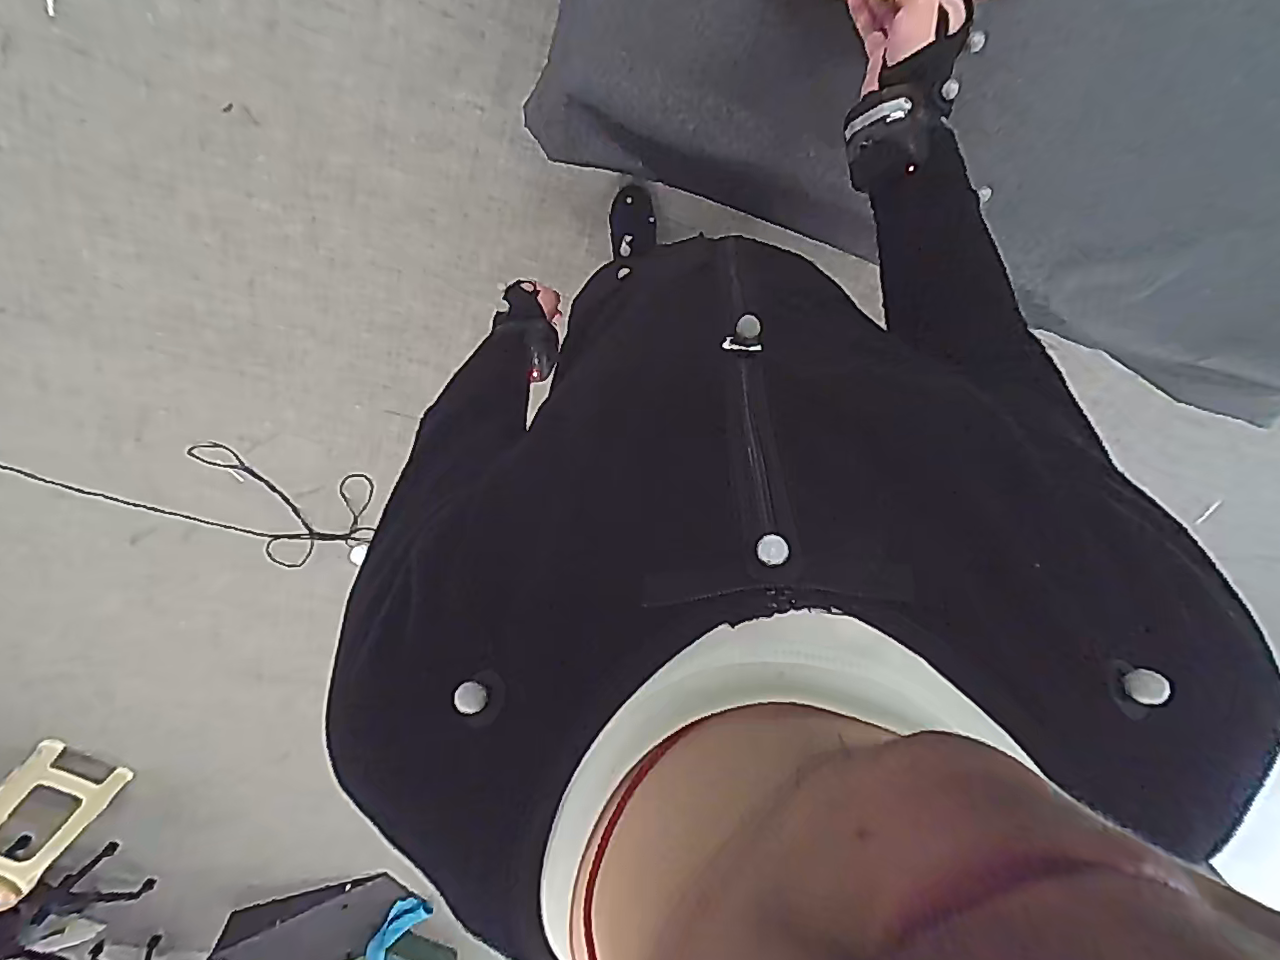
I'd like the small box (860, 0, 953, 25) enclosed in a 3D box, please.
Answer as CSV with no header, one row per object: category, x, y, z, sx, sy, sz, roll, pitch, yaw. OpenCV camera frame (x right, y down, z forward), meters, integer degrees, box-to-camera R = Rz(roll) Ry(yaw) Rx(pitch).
small box,0.252,-0.546,0.470,0.168,0.176,0.179,17,116,-14
